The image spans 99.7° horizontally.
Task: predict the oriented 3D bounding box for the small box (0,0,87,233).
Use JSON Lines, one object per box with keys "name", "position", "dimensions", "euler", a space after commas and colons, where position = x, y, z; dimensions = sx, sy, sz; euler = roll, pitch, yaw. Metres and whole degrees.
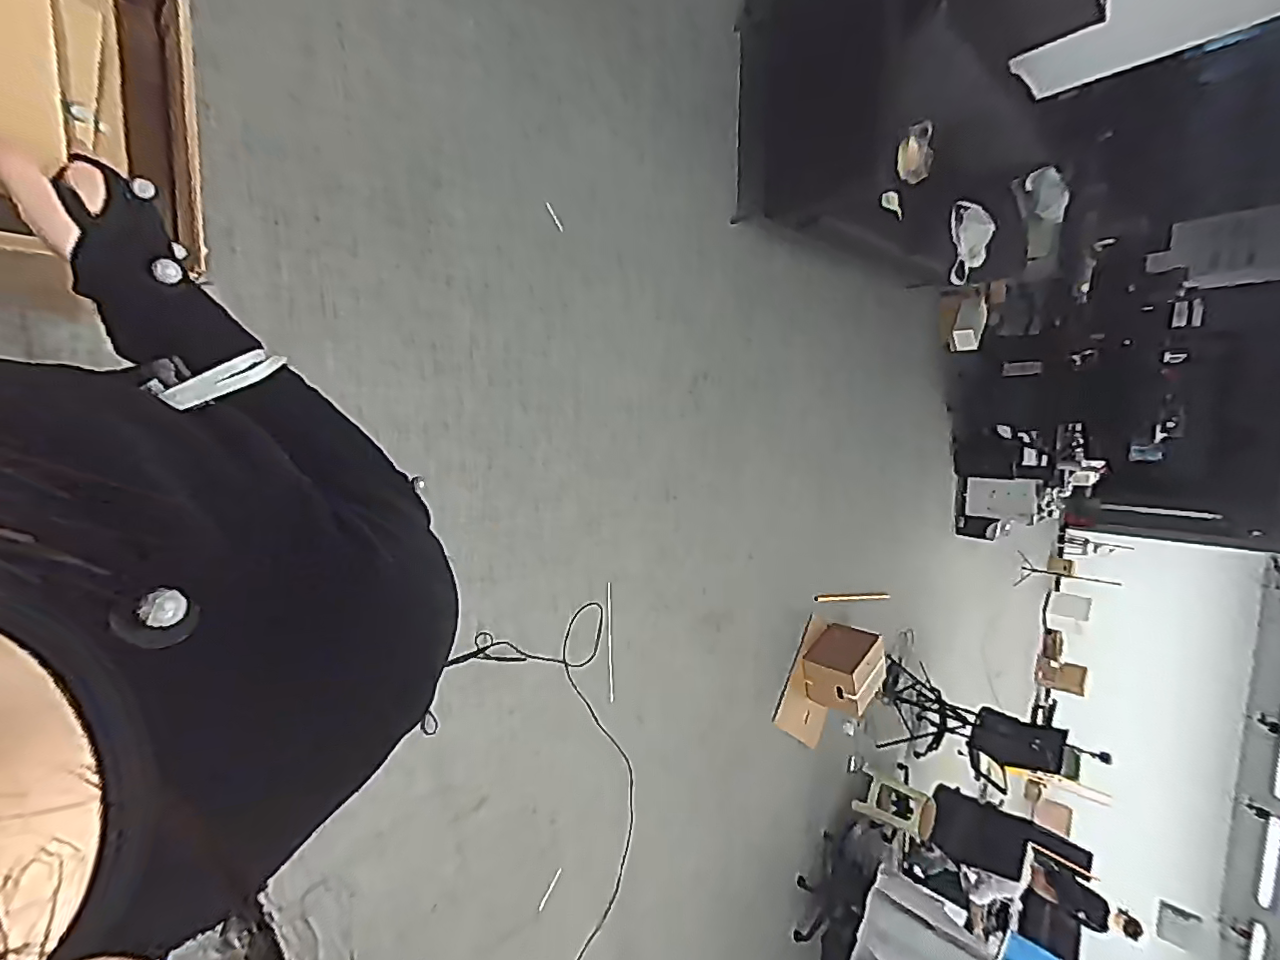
{"name": "small box", "position": [-0.487, -0.275, 0.349], "dimensions": [0.168, 0.176, 0.179], "euler": [-5, 103, -42]}
